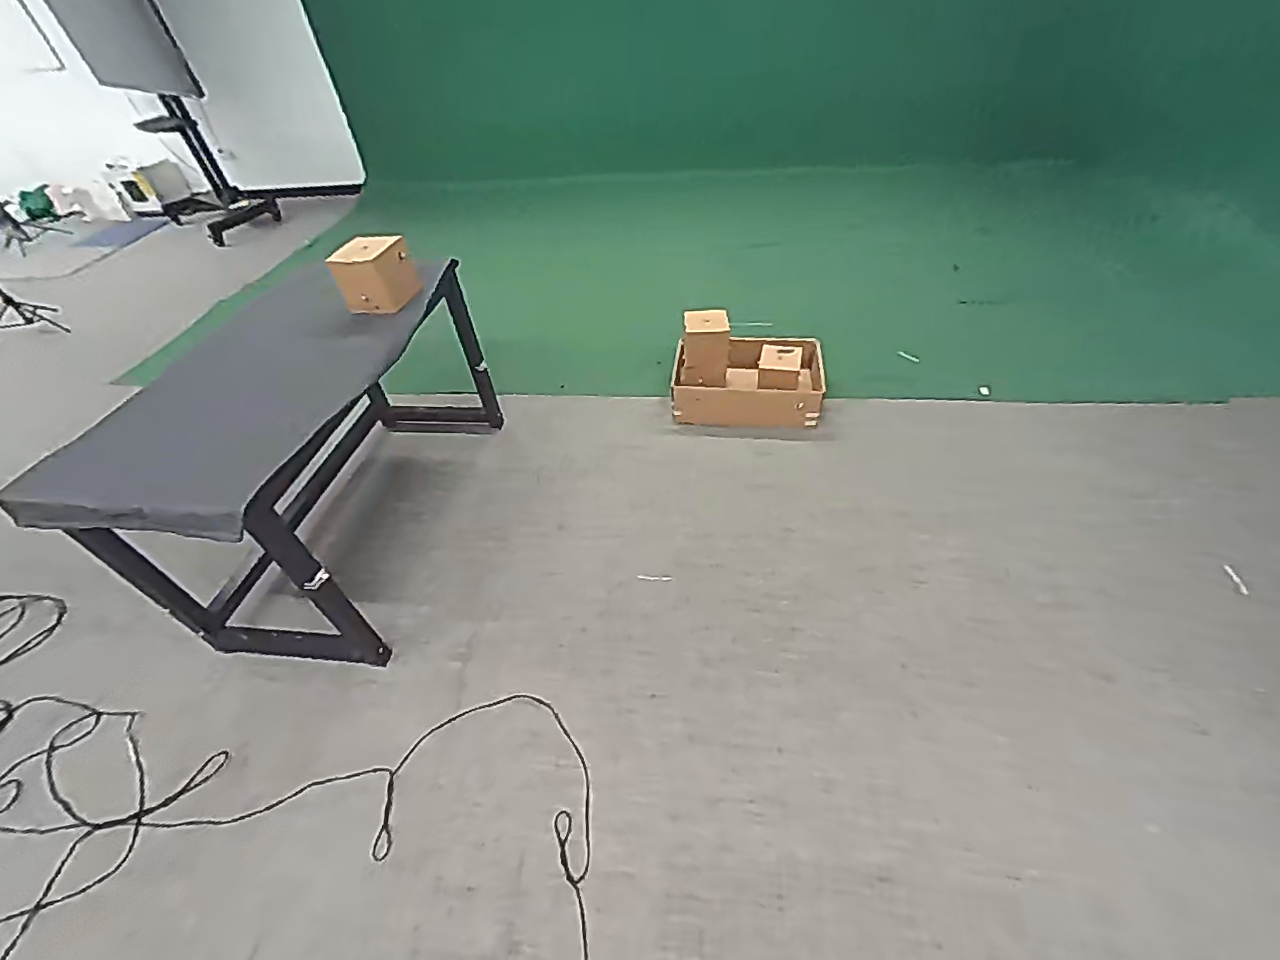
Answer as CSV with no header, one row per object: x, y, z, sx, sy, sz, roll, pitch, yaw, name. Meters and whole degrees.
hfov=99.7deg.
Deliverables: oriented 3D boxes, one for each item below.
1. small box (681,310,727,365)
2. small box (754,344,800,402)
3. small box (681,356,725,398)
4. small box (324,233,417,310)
0.263,-0.591,2.251,0.179,0.176,0.168,-1,47,1,small box
0.585,-0.459,2.324,0.168,0.176,0.179,8,48,14,small box
0.278,-0.477,2.368,0.179,0.176,0.168,4,47,10,small box
-0.819,-0.647,1.671,0.168,0.176,0.179,5,47,13,small box
